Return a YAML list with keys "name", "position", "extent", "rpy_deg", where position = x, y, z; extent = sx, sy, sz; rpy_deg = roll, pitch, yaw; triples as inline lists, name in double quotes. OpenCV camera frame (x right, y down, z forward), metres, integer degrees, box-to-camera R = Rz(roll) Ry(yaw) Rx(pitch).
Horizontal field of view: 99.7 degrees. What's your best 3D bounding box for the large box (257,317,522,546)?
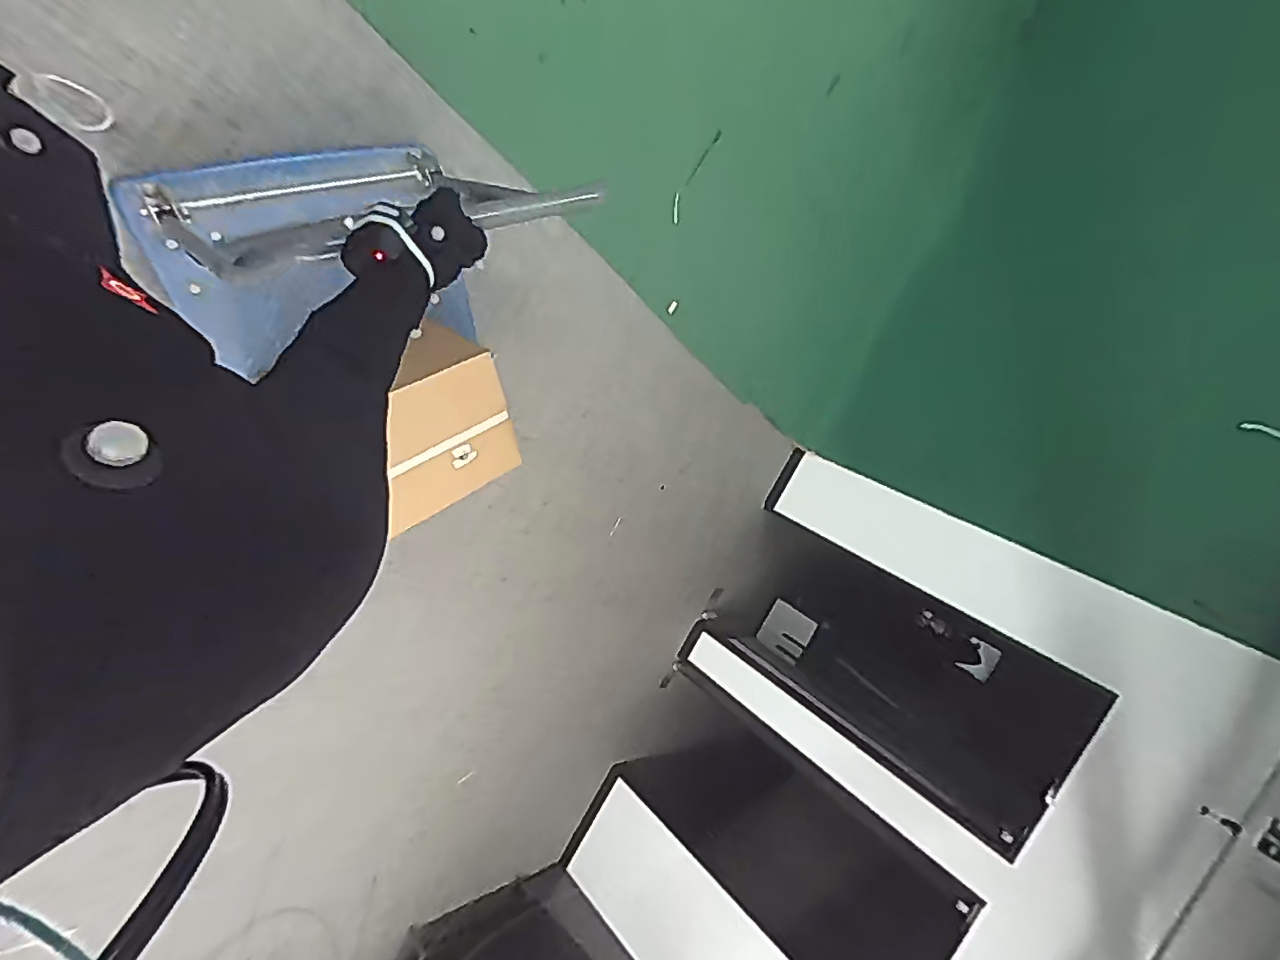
- name: "large box"
  position: [-0.551, -0.132, 1.239]
  extent: [0.408, 0.320, 0.320]
  rpy_deg: [-36, 139, -31]
